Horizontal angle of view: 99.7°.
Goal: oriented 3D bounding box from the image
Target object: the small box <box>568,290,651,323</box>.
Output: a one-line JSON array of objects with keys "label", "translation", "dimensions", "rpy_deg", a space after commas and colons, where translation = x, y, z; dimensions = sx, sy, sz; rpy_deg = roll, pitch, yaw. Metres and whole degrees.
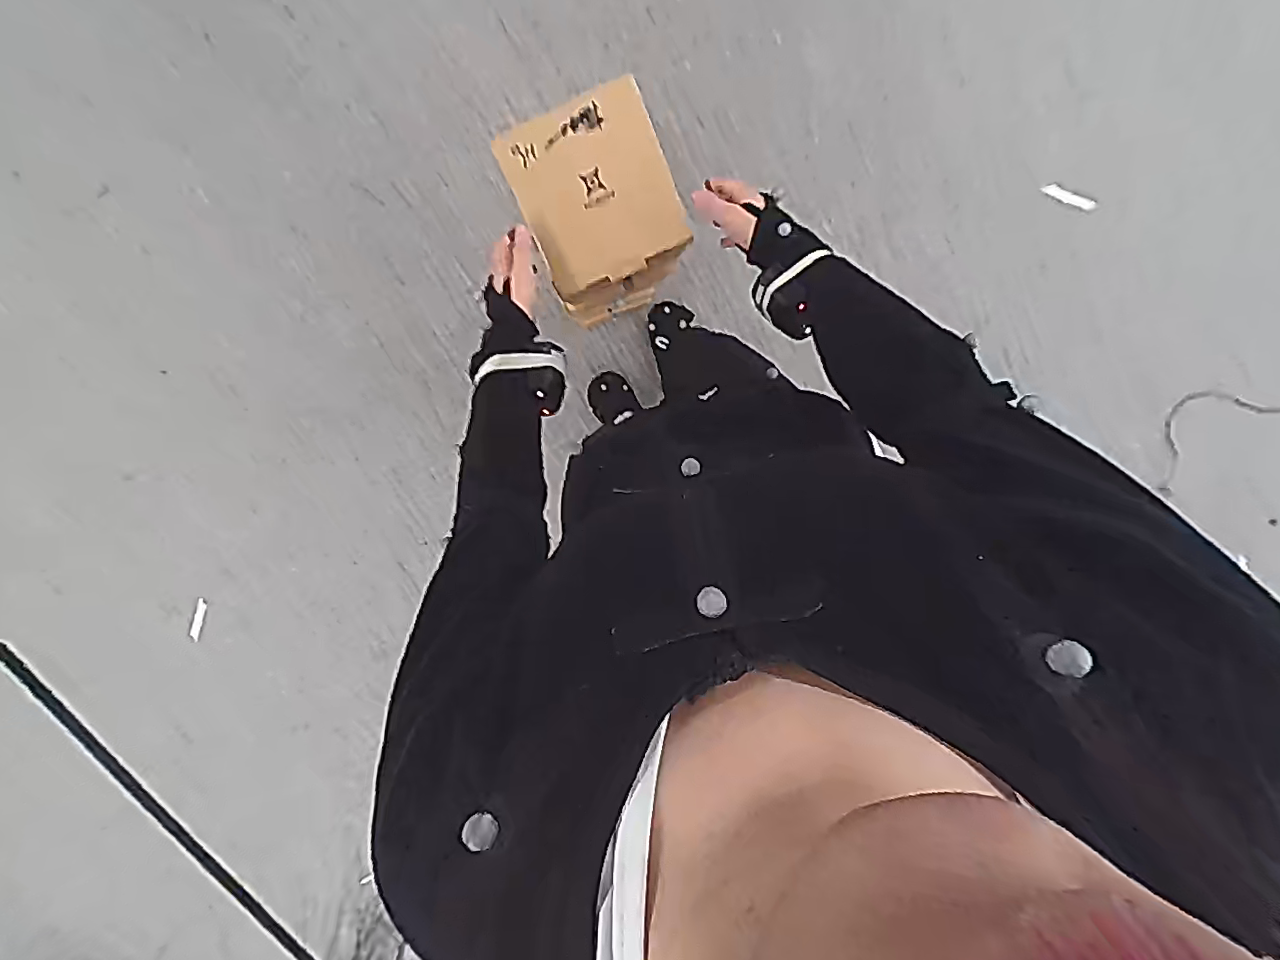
[{"label": "small box", "translation": [-0.085, -0.437, 1.145], "dimensions": [0.179, 0.176, 0.168], "rpy_deg": [-18, 105, 2]}]

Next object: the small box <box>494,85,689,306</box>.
[{"label": "small box", "translation": [-0.053, -0.330, 0.668], "dimensions": [0.168, 0.176, 0.179], "rpy_deg": [-24, 106, 3]}]

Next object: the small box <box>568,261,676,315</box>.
[{"label": "small box", "translation": [-0.058, -0.364, 0.829], "dimensions": [0.168, 0.176, 0.179], "rpy_deg": [-21, 106, 3]}]

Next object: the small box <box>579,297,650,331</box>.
[{"label": "small box", "translation": [-0.089, -0.471, 1.306], "dimensions": [0.179, 0.176, 0.168], "rpy_deg": [-21, 105, 2]}]
